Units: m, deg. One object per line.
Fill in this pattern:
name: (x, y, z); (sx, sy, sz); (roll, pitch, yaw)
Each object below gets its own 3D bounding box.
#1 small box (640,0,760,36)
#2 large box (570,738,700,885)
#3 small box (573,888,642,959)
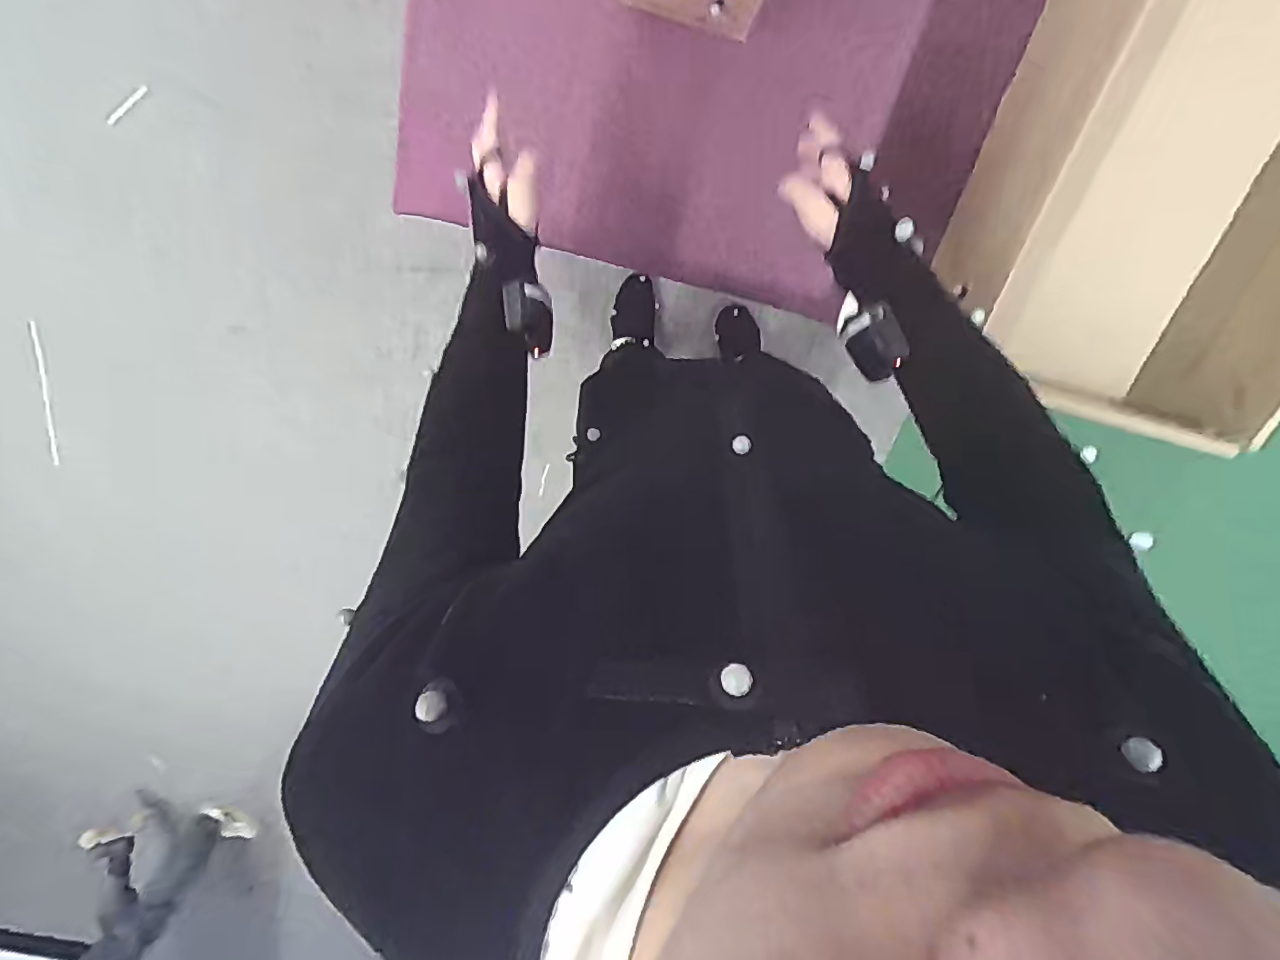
small box: (0.074, -0.618, 0.570); (0.168, 0.176, 0.179); (14, 112, -5)
large box: (-0.014, 1.253, 2.058); (0.408, 0.320, 0.320); (-16, 112, 7)
small box: (-0.095, 1.415, 1.682); (0.179, 0.176, 0.168); (-11, 112, 6)
